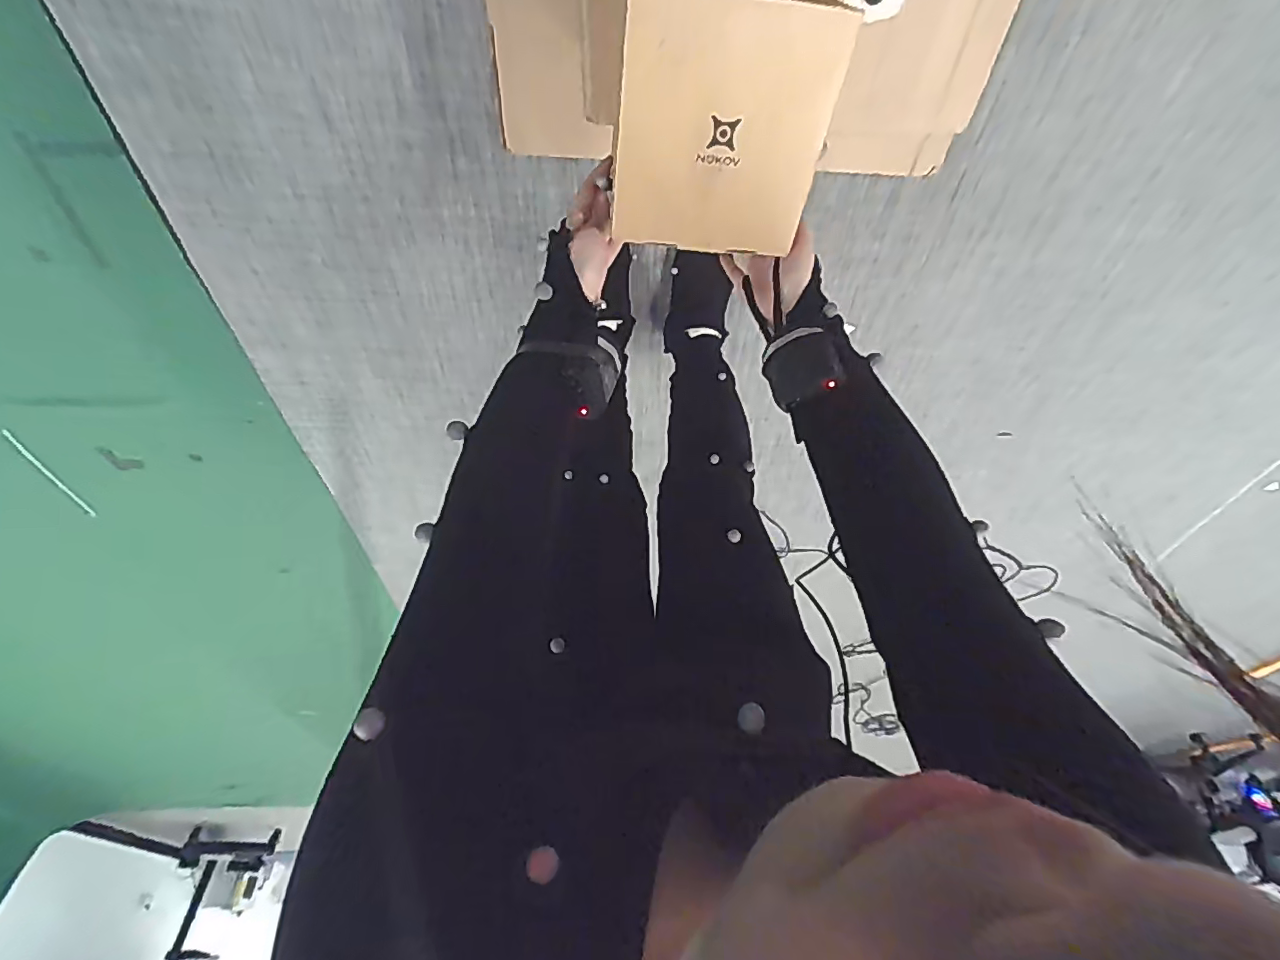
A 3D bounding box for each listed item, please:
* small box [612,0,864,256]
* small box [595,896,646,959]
[{"bbox_3d":[0.063,-0.325,0.478,0.168,0.176,0.179,2,138,-6],"label":"small box"},{"bbox_3d":[-0.065,1.517,1.824,0.168,0.176,0.179,-1,138,-2],"label":"small box"}]
